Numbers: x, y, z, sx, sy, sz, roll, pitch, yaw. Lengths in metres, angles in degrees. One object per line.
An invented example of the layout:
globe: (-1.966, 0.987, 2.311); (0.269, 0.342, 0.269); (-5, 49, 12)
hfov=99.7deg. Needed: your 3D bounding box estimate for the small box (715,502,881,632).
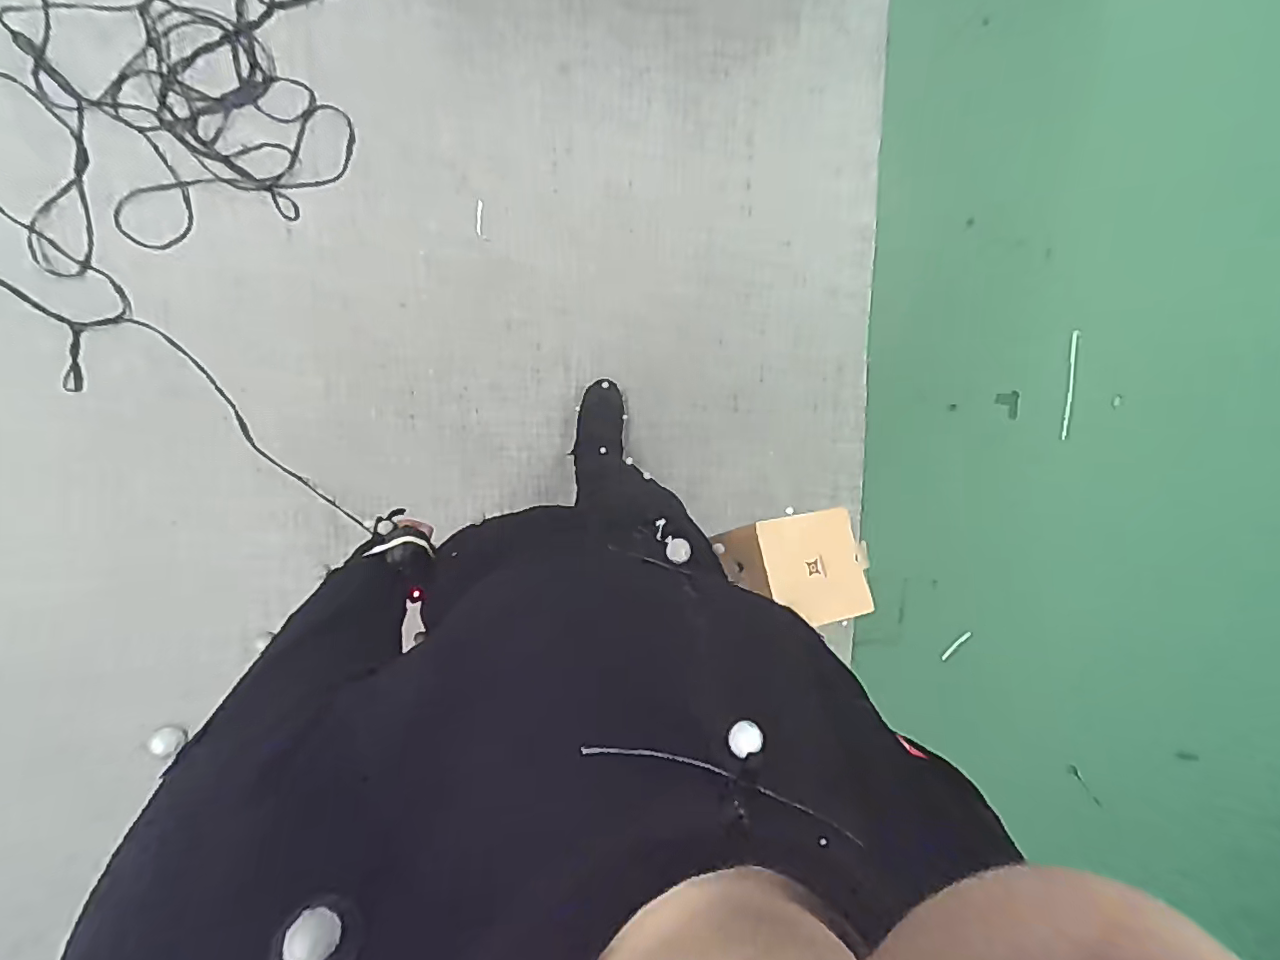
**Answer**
small box: (0.236, 0.143, 0.860); (0.179, 0.176, 0.168); (-8, 78, -23)
